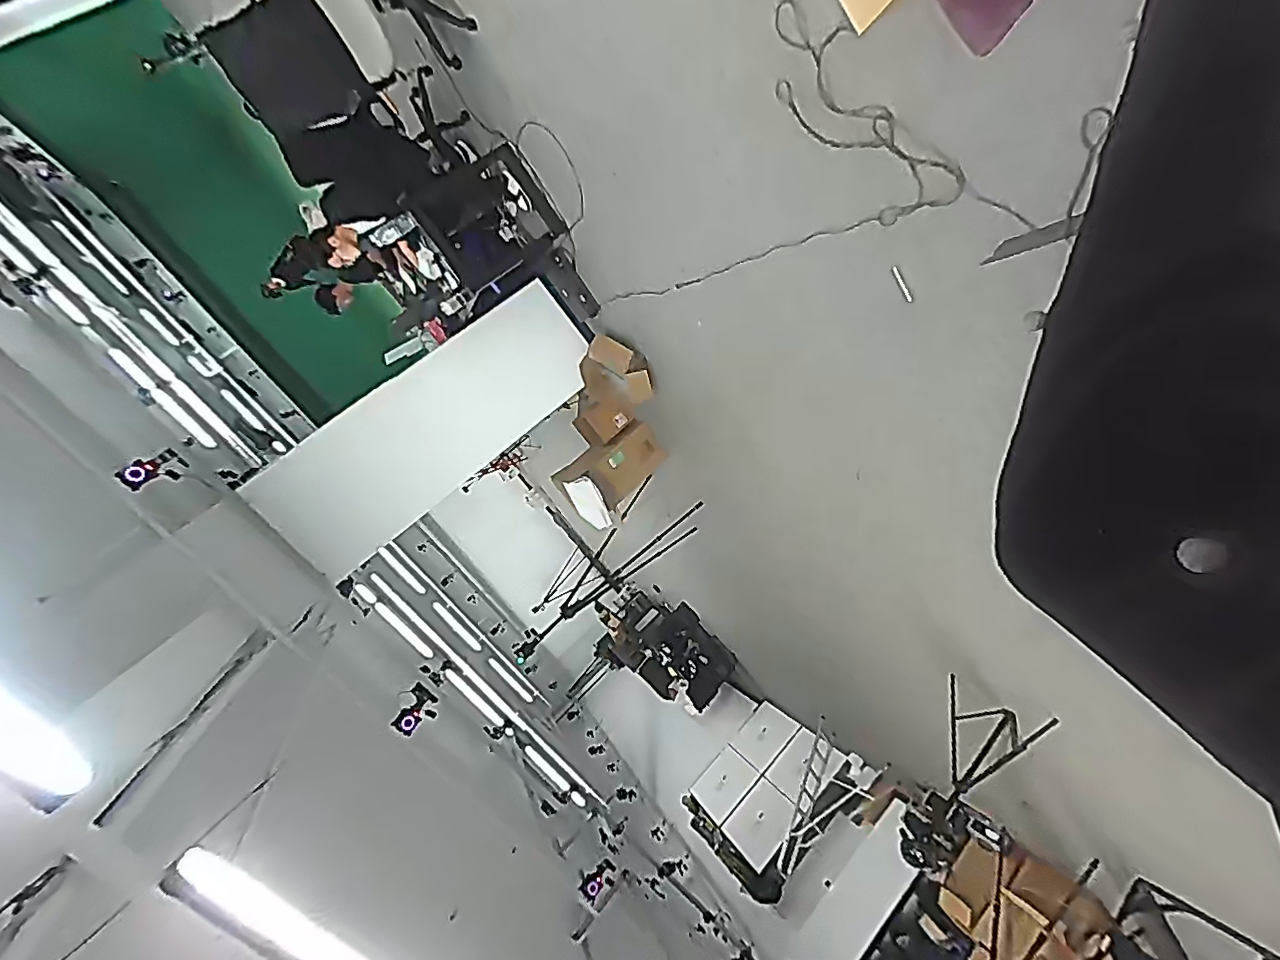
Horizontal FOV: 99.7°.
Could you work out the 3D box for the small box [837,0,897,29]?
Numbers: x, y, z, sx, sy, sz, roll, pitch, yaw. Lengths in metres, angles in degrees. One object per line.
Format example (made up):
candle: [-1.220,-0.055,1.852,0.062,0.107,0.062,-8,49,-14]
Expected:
small box: [0.293,-0.645,0.565,0.168,0.176,0.179,51,162,-12]
